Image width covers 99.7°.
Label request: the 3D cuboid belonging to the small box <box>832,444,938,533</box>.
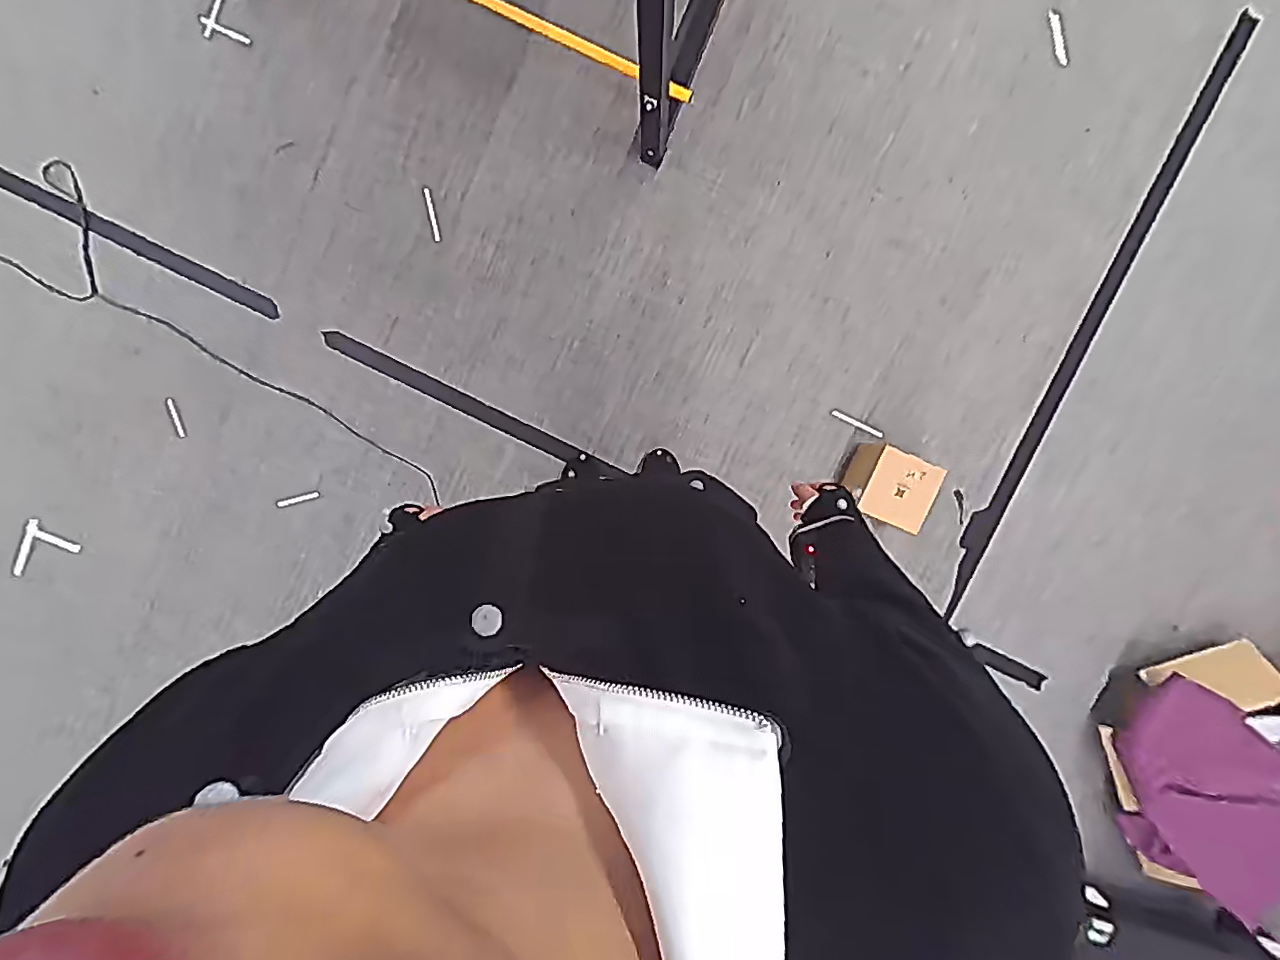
[{"bbox_3d":[0.624,0.016,1.406,0.168,0.176,0.179,24,94,-2],"label":"small box"}]
